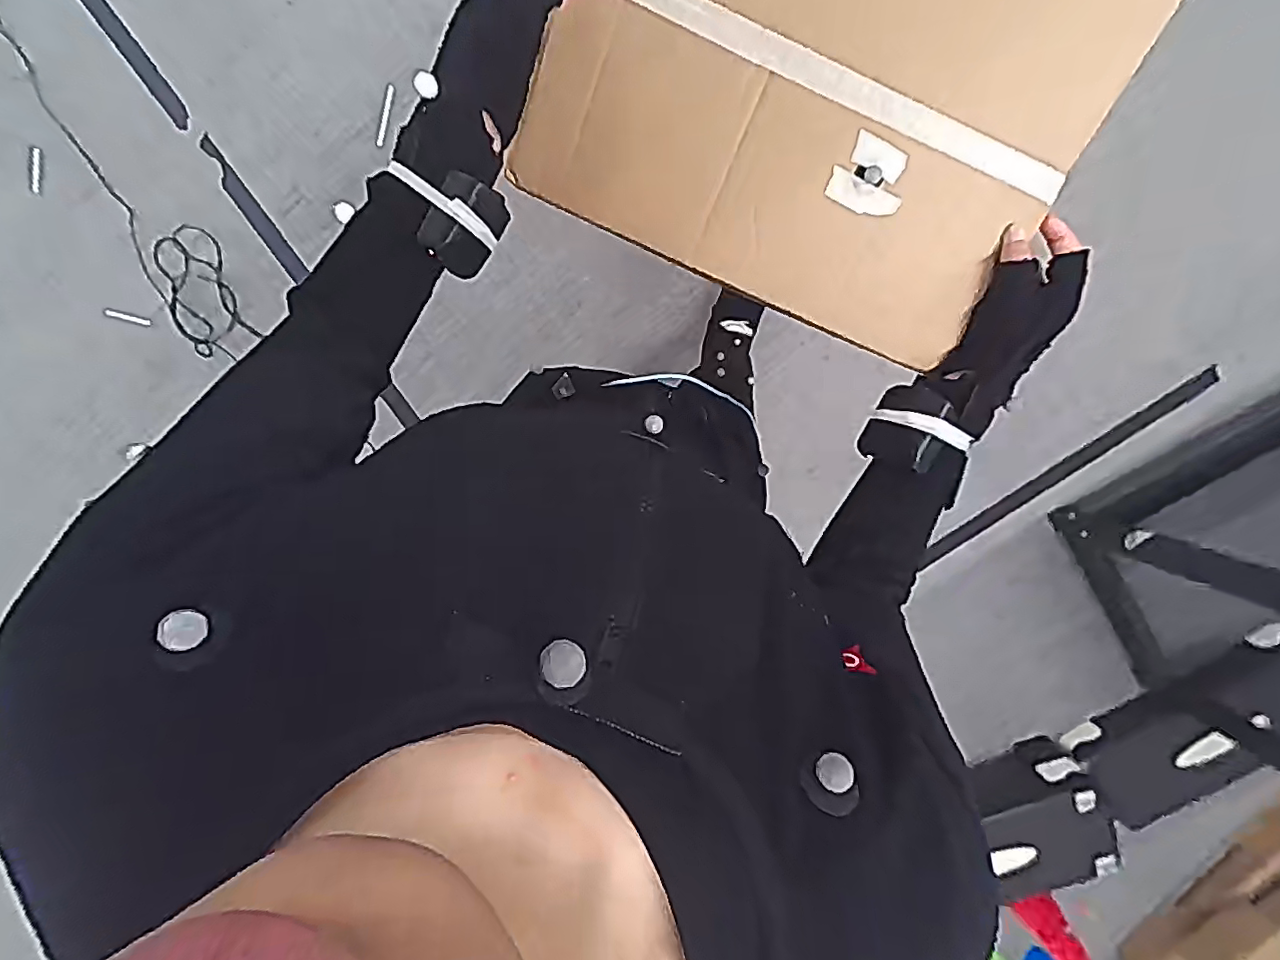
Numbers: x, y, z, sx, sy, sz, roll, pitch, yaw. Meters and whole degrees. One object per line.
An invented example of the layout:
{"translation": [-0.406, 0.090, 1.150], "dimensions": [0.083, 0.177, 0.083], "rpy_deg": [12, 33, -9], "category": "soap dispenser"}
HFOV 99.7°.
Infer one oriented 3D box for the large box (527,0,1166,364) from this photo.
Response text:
{"translation": [0.150, -0.359, 0.553], "dimensions": [0.408, 0.320, 0.320], "rpy_deg": [23, 112, -5], "category": "large box"}
